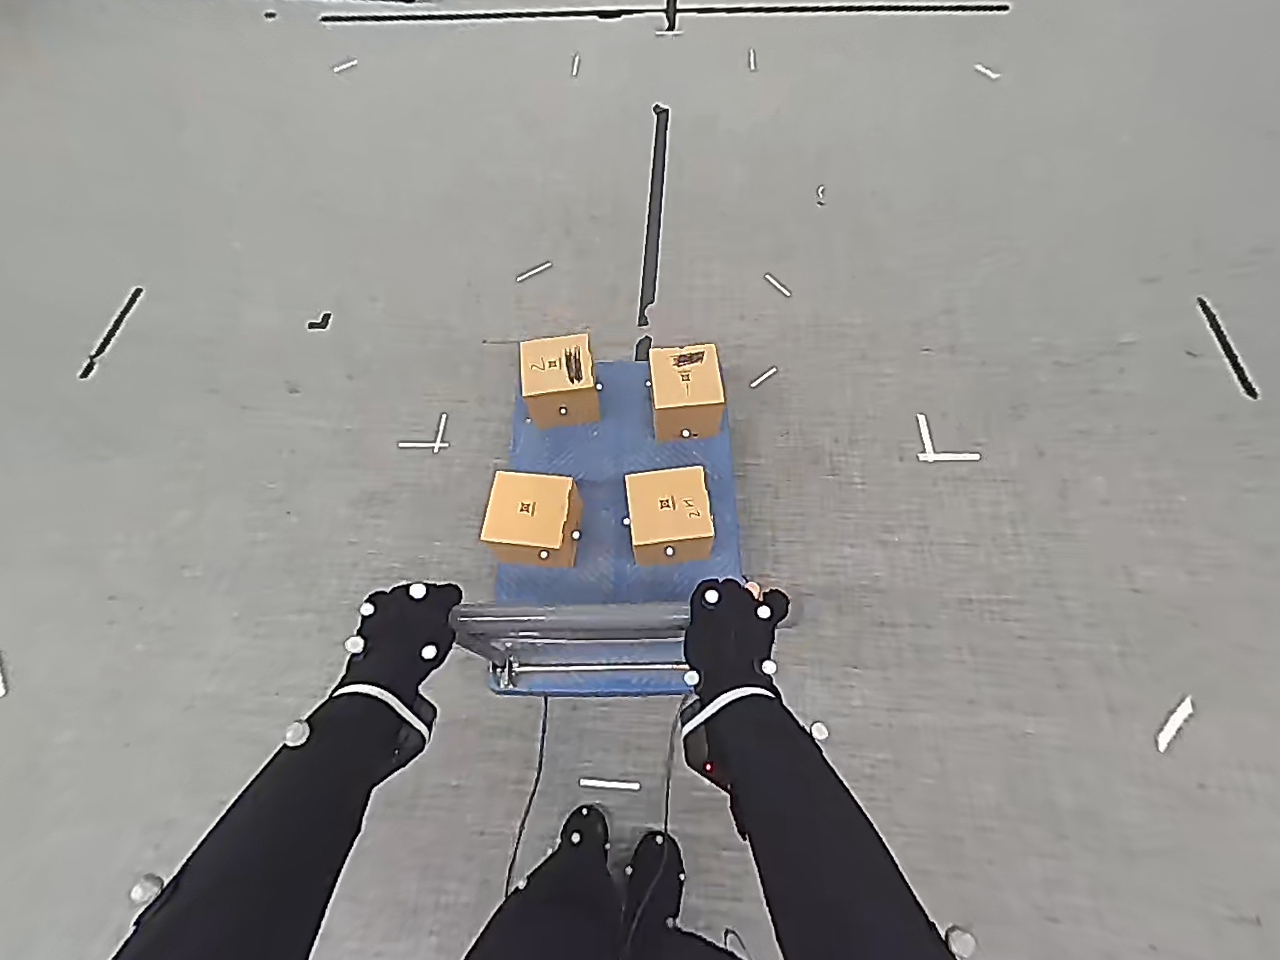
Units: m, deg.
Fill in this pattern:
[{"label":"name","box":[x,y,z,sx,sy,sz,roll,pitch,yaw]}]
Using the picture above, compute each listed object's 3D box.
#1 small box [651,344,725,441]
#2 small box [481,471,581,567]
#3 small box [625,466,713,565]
[{"label":"small box","box":[0.114,-0.218,1.364,0.168,0.176,0.179,-5,66,0]},{"label":"small box","box":[-0.240,0.094,1.236,0.179,0.176,0.168,5,65,3]},{"label":"small box","box":[0.064,0.086,1.225,0.179,0.176,0.168,-7,65,0]}]
